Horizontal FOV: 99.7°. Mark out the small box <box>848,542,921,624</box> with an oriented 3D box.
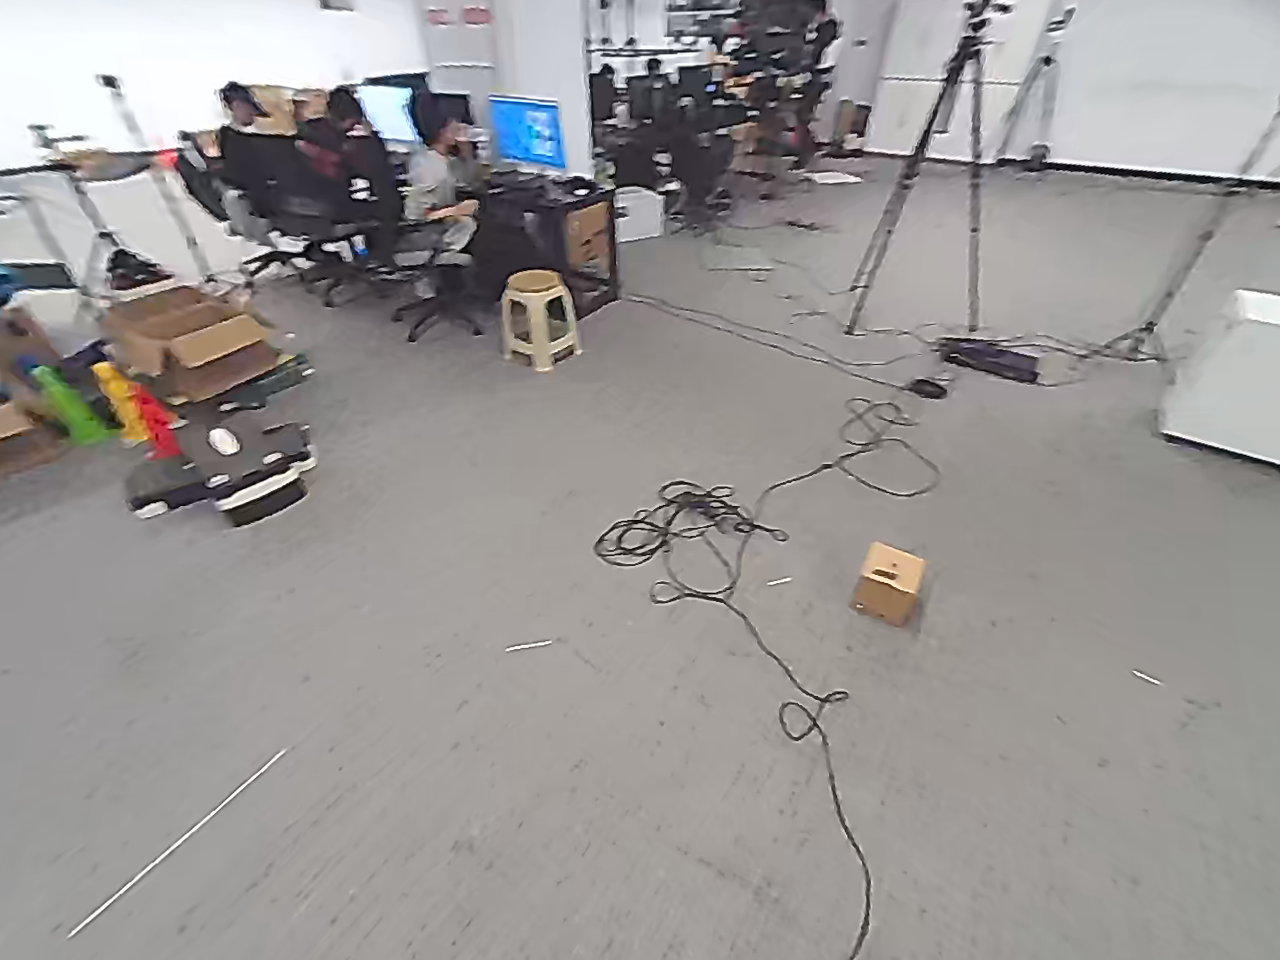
[{"bbox_3d":[0.810,0.347,1.800,0.168,0.176,0.179,22,44,24],"label":"small box"}]
